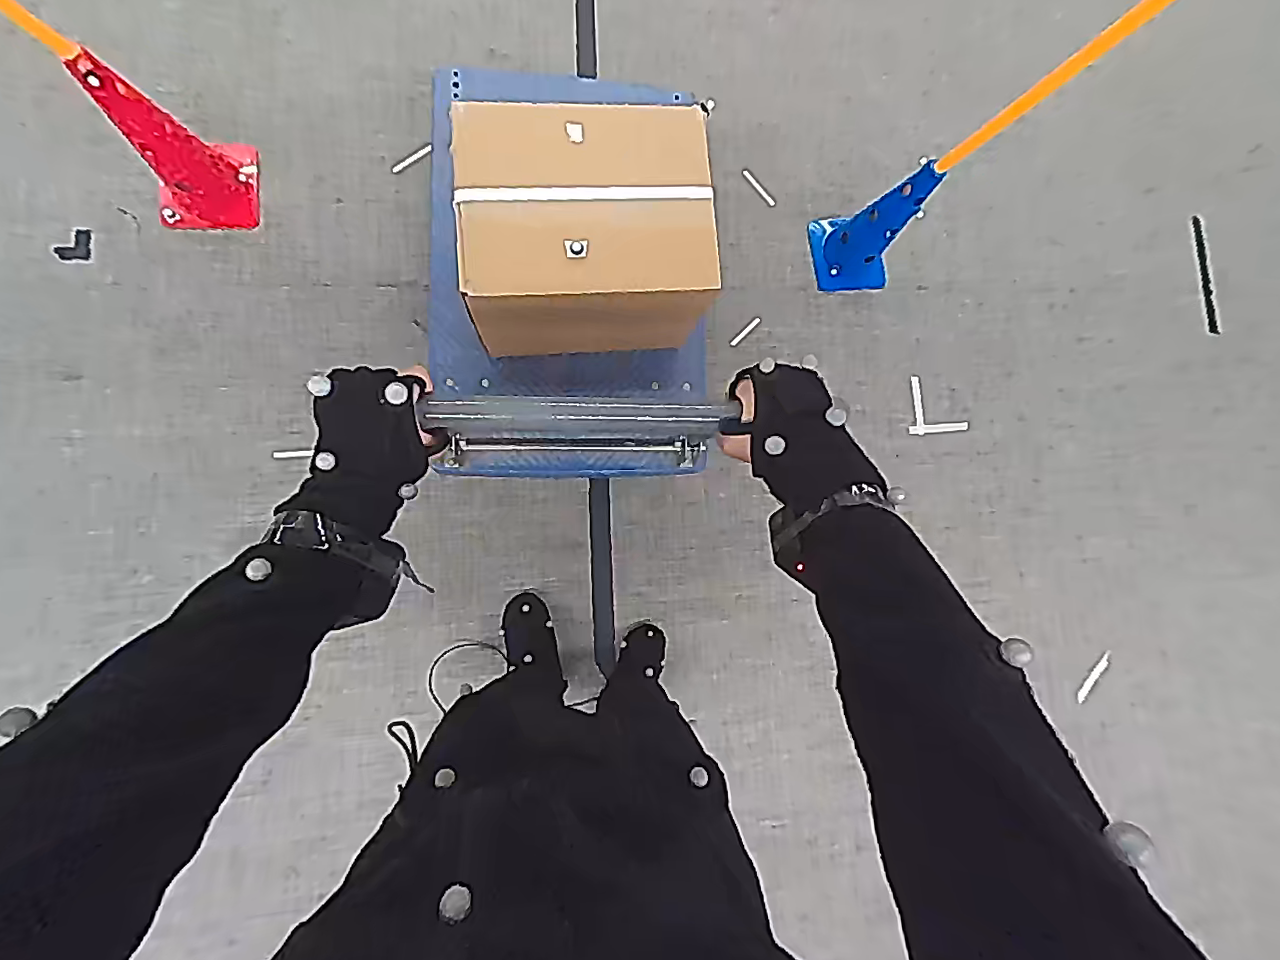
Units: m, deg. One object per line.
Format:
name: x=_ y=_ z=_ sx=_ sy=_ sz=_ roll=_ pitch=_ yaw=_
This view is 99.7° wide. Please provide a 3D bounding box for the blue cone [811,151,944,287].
blue cone: x=0.580 y=-0.626 z=1.282 sx=0.193 sy=0.380 sz=0.192 roll=-6 pitch=85 yaw=-9
